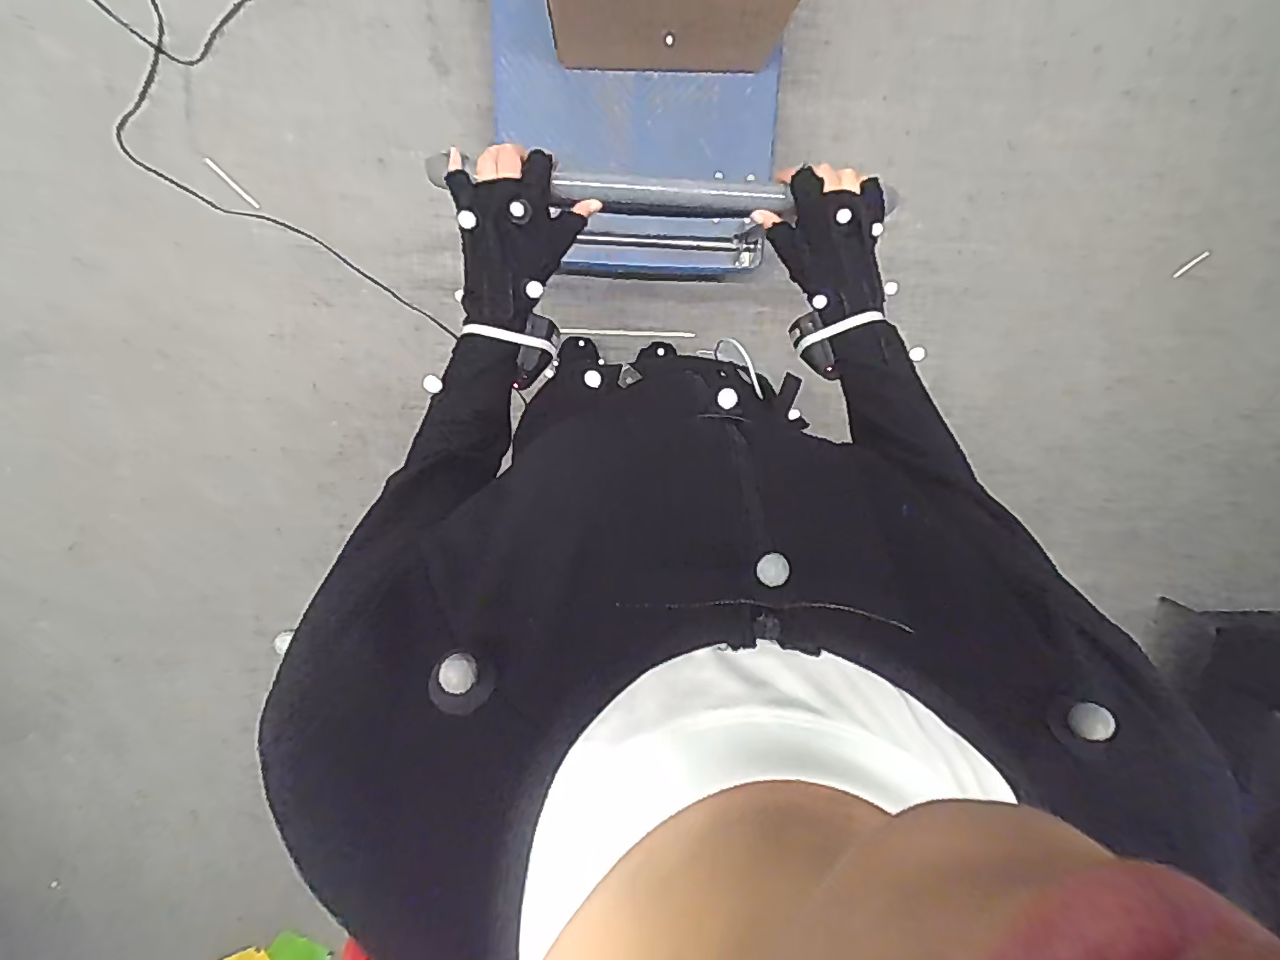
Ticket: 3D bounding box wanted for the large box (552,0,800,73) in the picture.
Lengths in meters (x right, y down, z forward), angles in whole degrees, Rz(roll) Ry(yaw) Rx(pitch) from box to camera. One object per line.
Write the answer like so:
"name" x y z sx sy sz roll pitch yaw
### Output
"large box" 0.052 -0.930 0.912 0.408 0.320 0.320 -2 104 -3
